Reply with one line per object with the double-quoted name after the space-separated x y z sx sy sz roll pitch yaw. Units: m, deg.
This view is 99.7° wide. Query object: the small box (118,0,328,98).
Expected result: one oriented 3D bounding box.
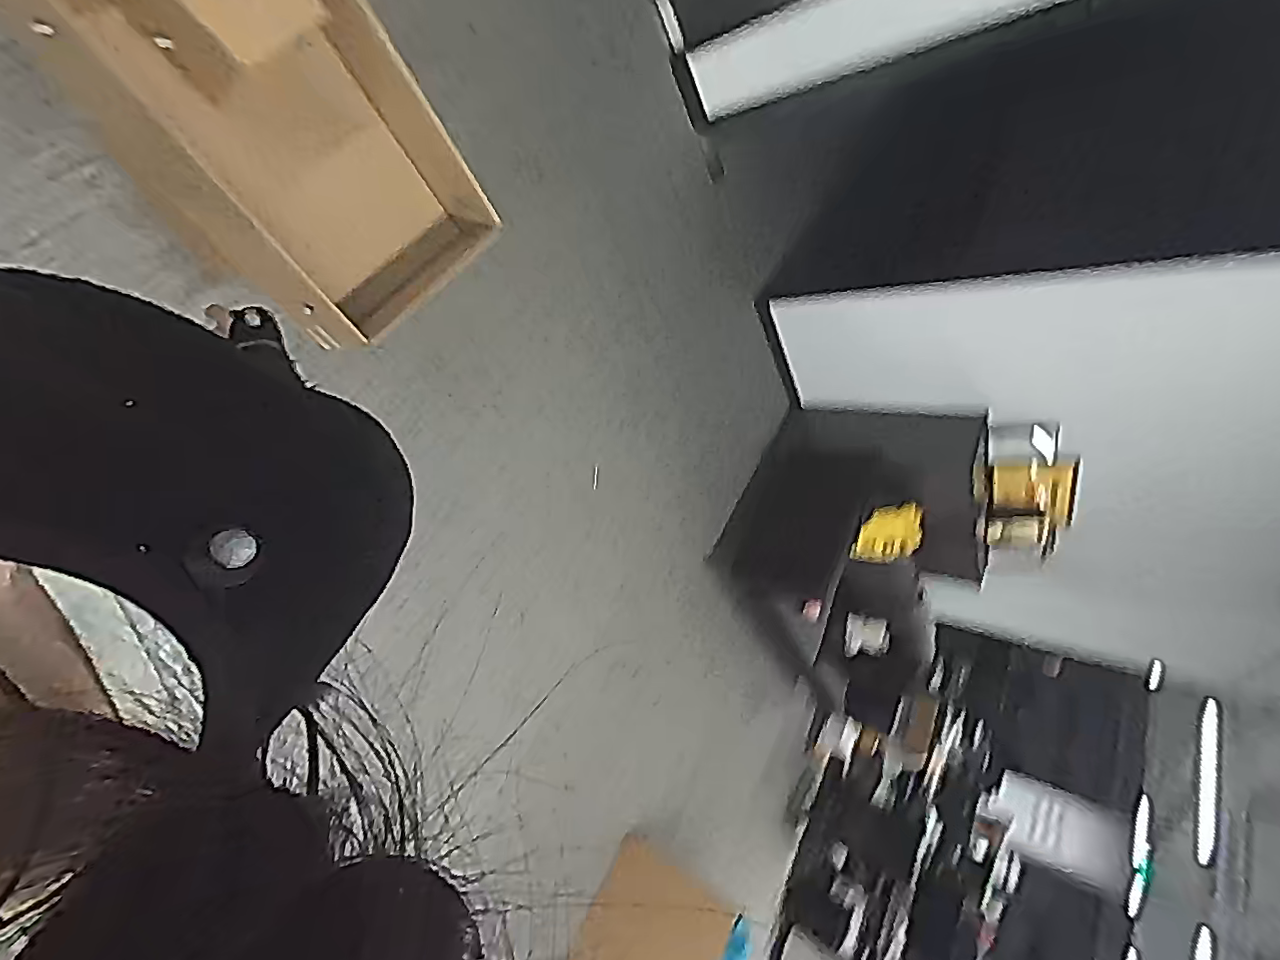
-0.604 -0.696 0.775 0.179 0.176 0.168 -60 136 -24 "small box"
